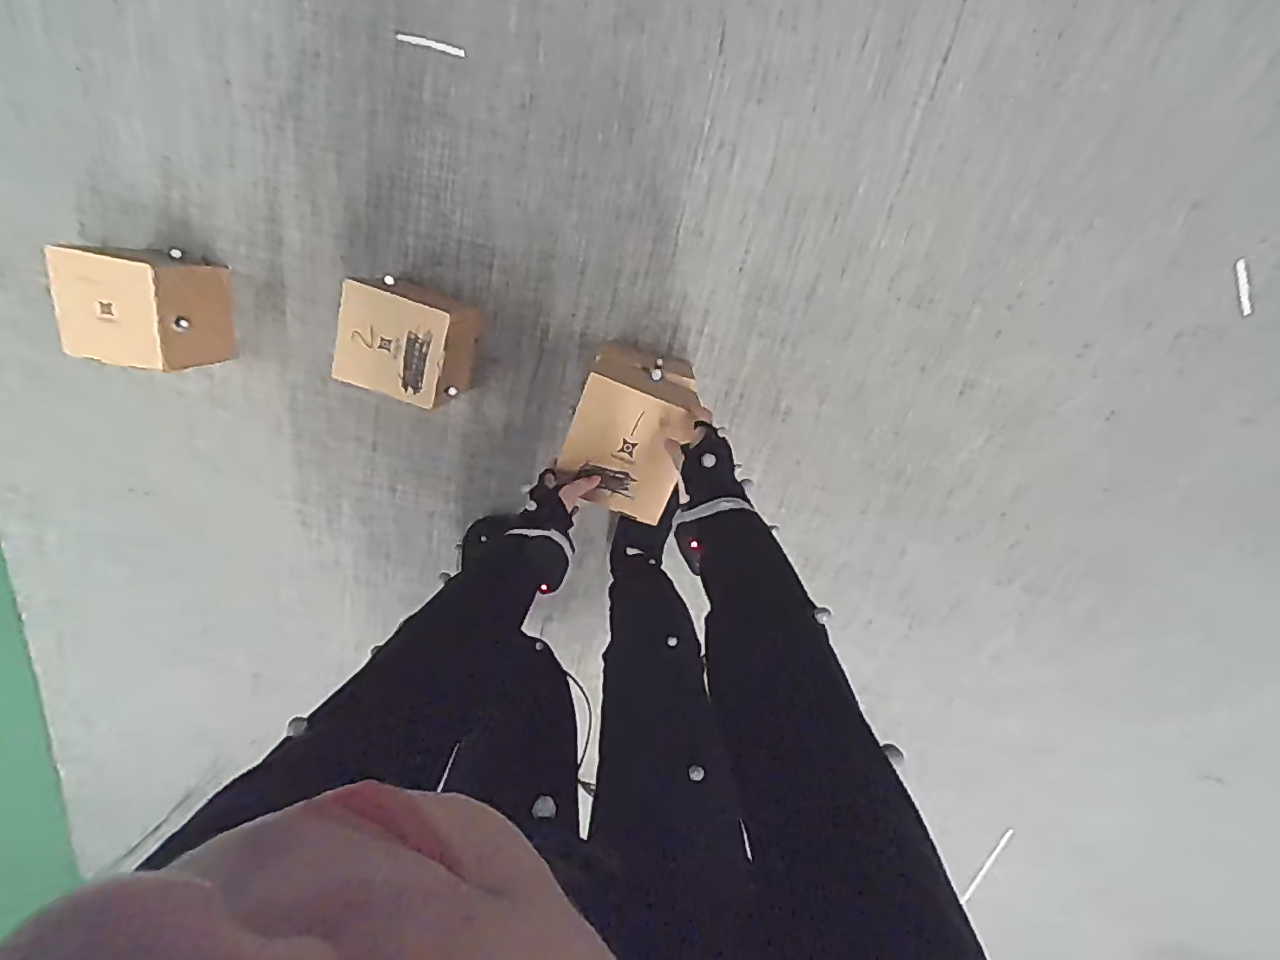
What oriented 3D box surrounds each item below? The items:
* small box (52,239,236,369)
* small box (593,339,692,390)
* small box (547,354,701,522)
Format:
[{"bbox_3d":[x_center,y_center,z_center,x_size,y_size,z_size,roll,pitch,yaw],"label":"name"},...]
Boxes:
[{"bbox_3d":[-0.850,-0.309,0.948,0.168,0.176,0.179,12,110,-2],"label":"small box"},{"bbox_3d":[-0.010,-0.139,0.968,0.168,0.176,0.179,15,111,-3],"label":"small box"},{"bbox_3d":[-0.020,-0.071,0.811,0.168,0.176,0.179,22,109,-6],"label":"small box"}]
